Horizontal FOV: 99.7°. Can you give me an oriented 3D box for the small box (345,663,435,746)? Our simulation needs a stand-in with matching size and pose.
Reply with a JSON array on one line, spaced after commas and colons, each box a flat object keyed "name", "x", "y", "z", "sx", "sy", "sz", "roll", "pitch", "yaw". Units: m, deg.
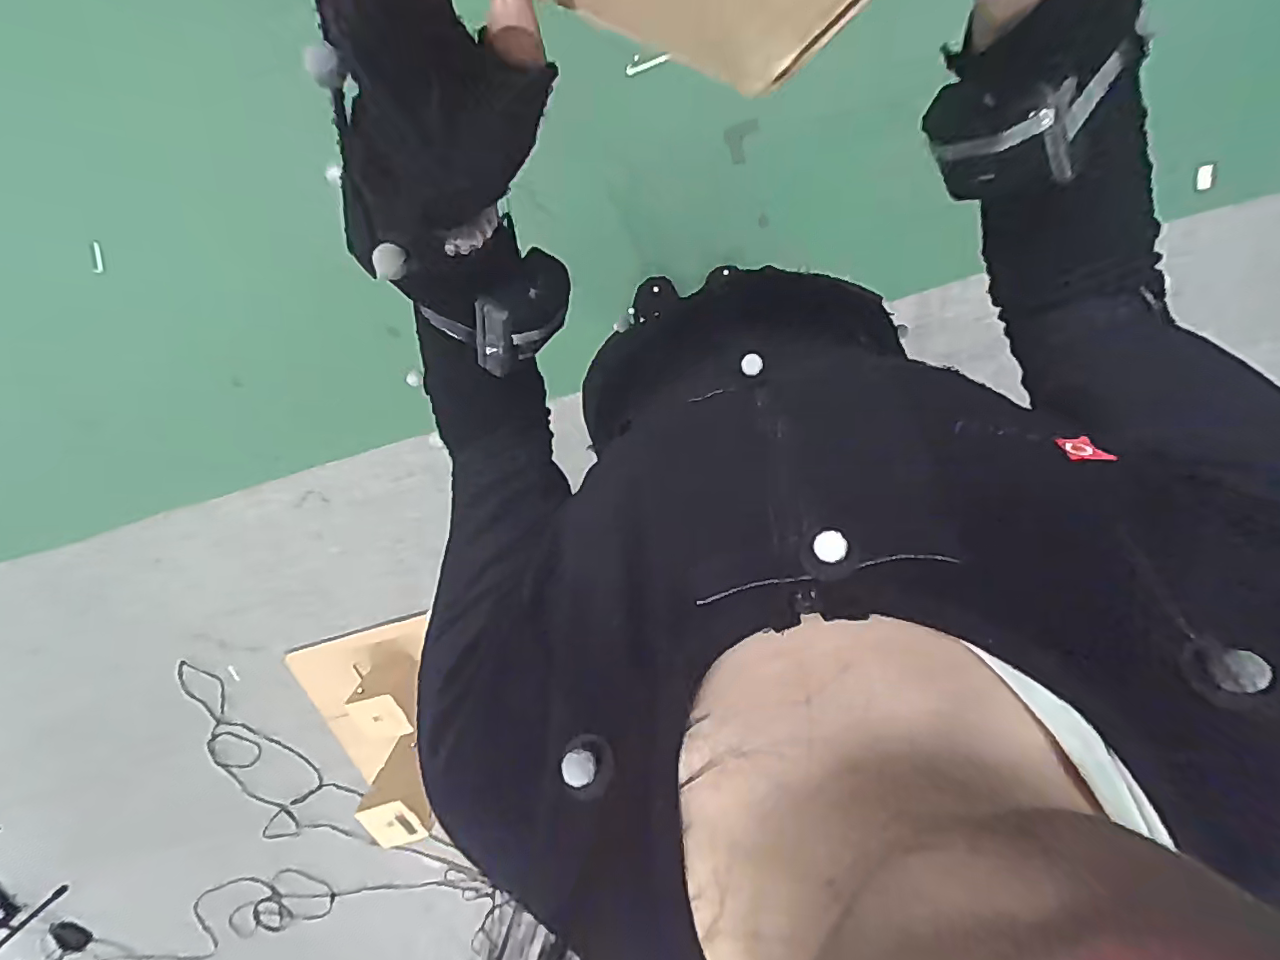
[{"name": "small box", "x": -0.809, "y": 0.729, "z": 1.768, "sx": 0.179, "sy": 0.176, "sz": 0.168, "roll": -17, "pitch": 109, "yaw": 10}]
